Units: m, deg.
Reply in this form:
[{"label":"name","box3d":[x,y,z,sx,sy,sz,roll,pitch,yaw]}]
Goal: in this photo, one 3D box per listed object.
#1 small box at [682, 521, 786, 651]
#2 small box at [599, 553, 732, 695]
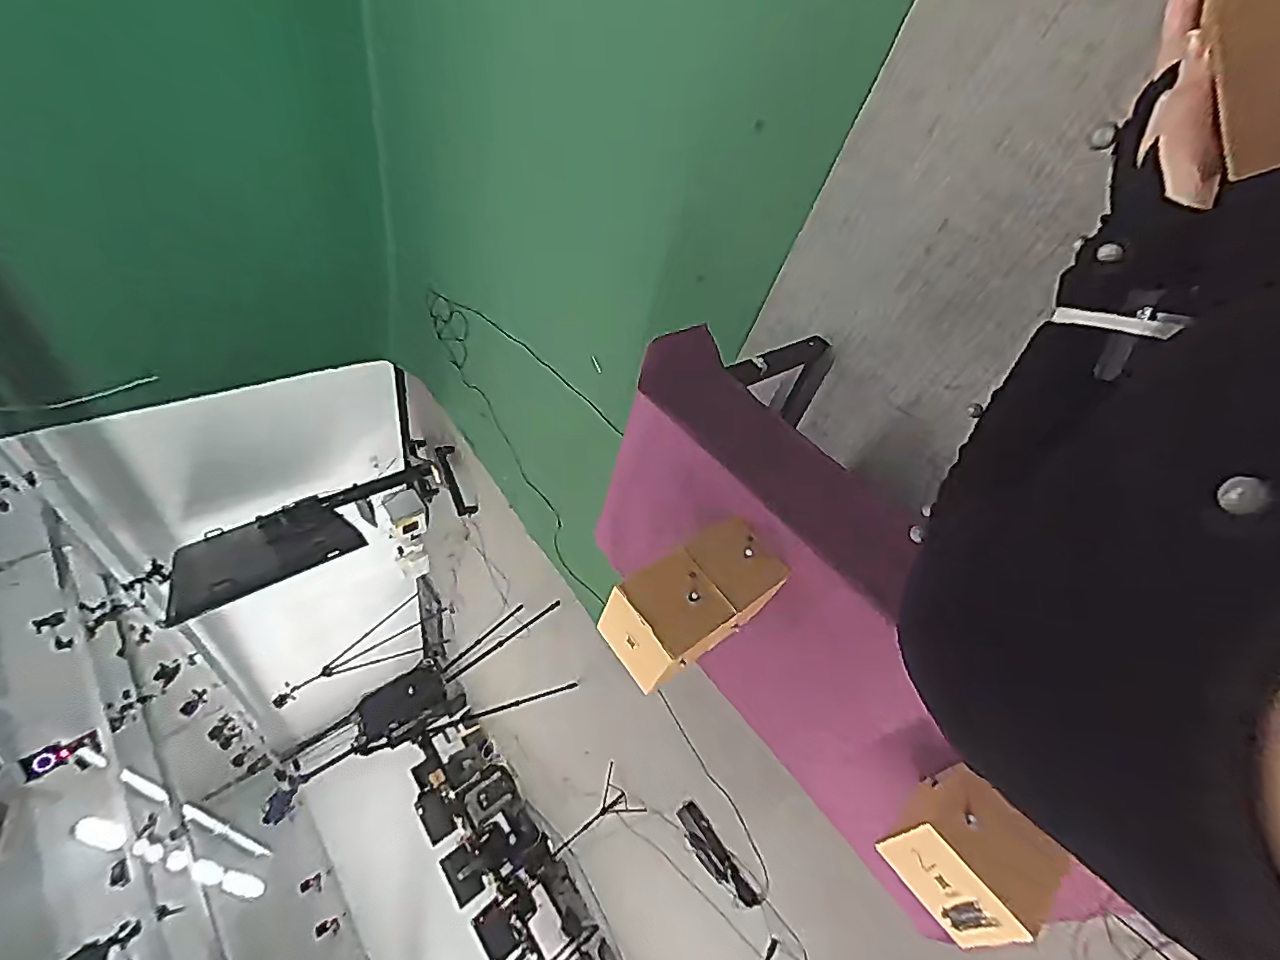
[{"label":"small box","box3d":[0.173,0.217,1.128,0.168,0.176,0.179,48,142,22]},{"label":"small box","box3d":[0.049,0.272,1.037,0.168,0.176,0.179,48,141,23]}]
